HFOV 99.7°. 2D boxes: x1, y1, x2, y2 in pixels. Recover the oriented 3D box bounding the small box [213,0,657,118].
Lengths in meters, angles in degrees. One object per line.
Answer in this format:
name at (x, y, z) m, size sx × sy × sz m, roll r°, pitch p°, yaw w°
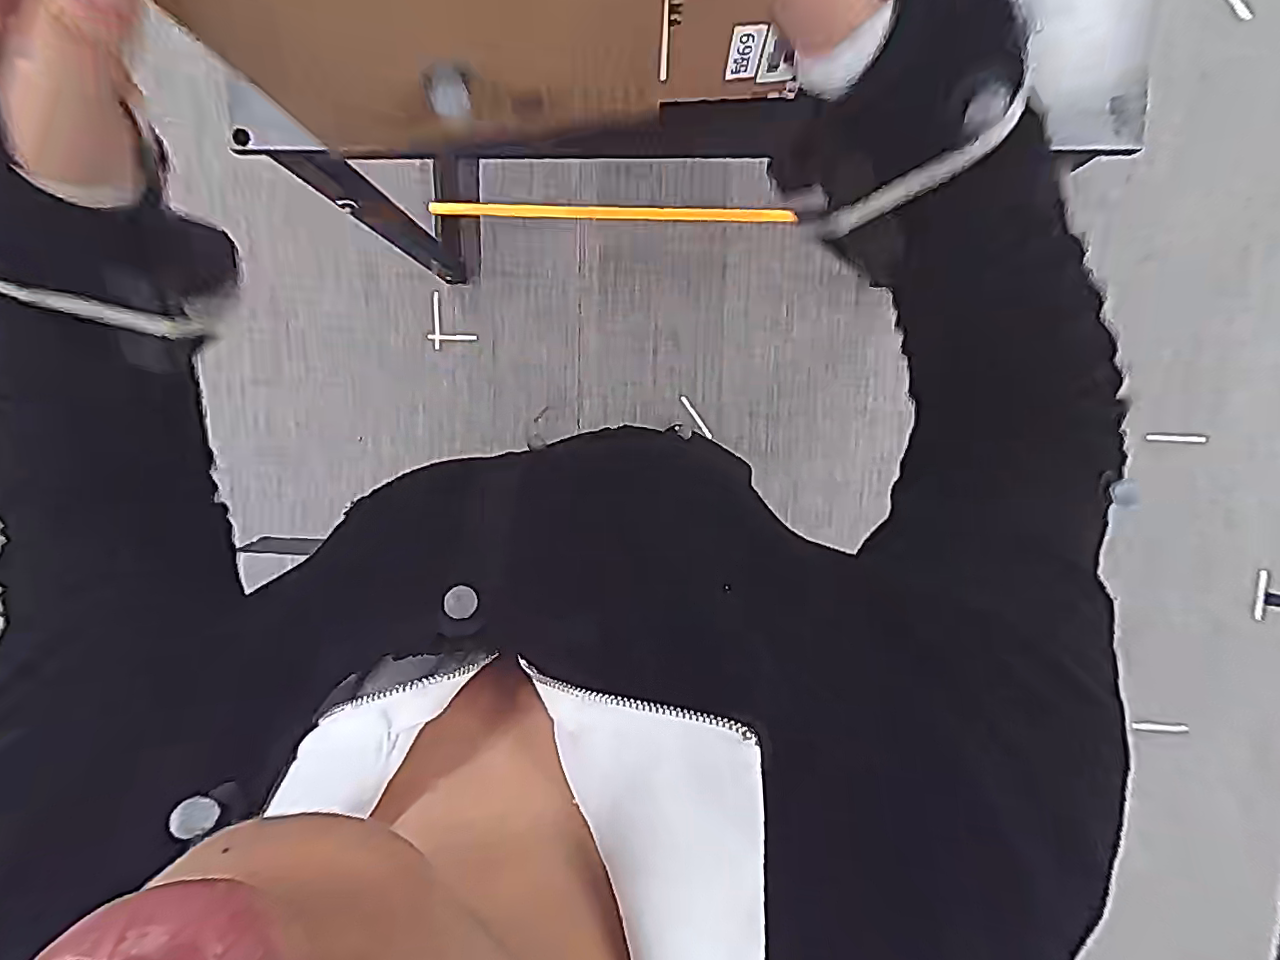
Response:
small box at (-0.082, -0.251, 0.164) m, size 0.168 × 0.176 × 0.179 m, roll -6°, pitch 100°, yaw 1°
